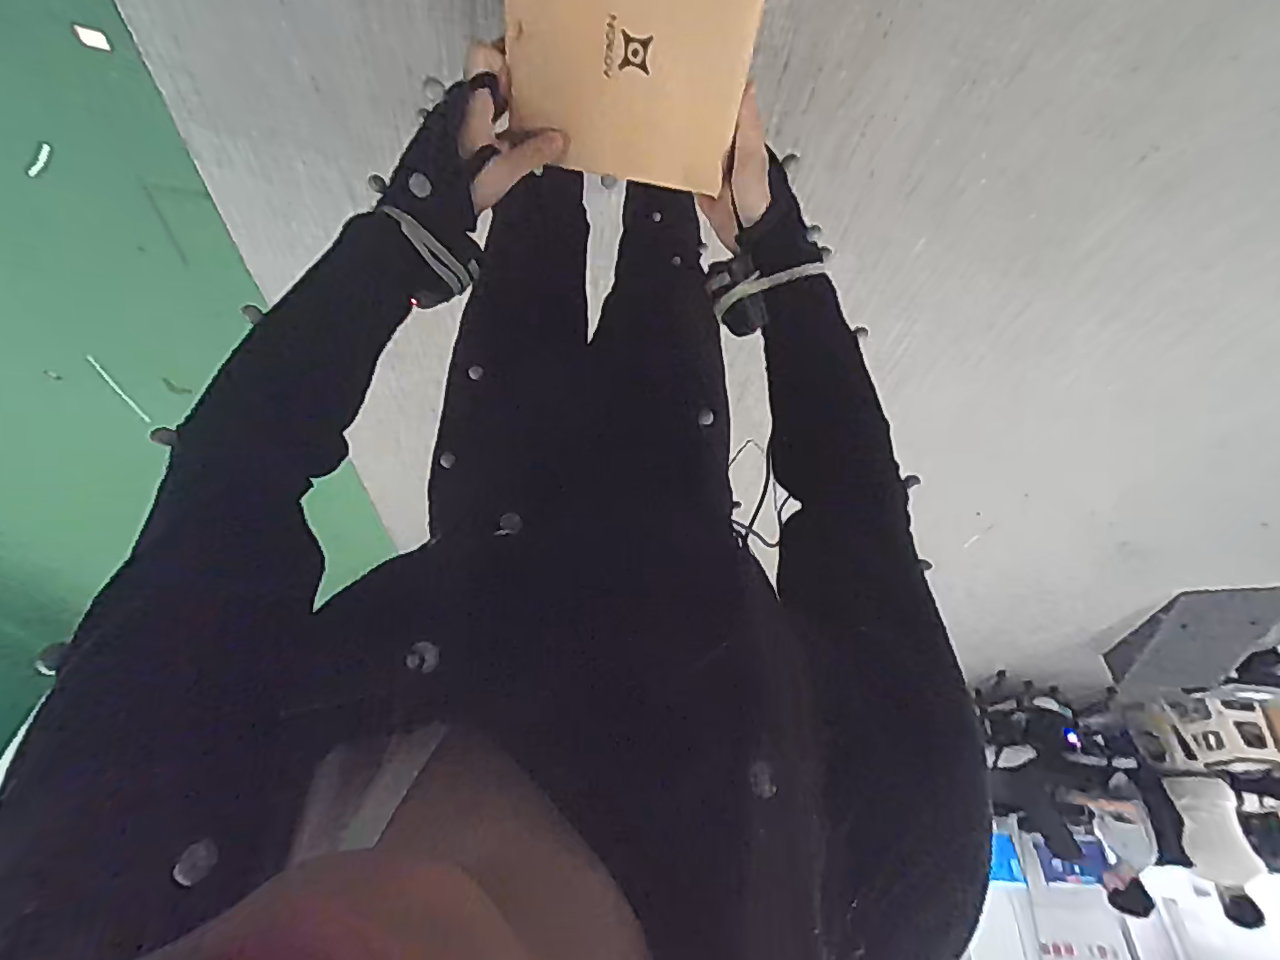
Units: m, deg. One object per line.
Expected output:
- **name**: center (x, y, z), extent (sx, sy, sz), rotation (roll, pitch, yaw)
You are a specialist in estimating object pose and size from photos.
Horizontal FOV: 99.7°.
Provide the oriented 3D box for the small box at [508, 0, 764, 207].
- **small box**: center (-0.004, -0.355, 0.453), extent (0.179, 0.176, 0.168), rotation (10, 134, -2)
